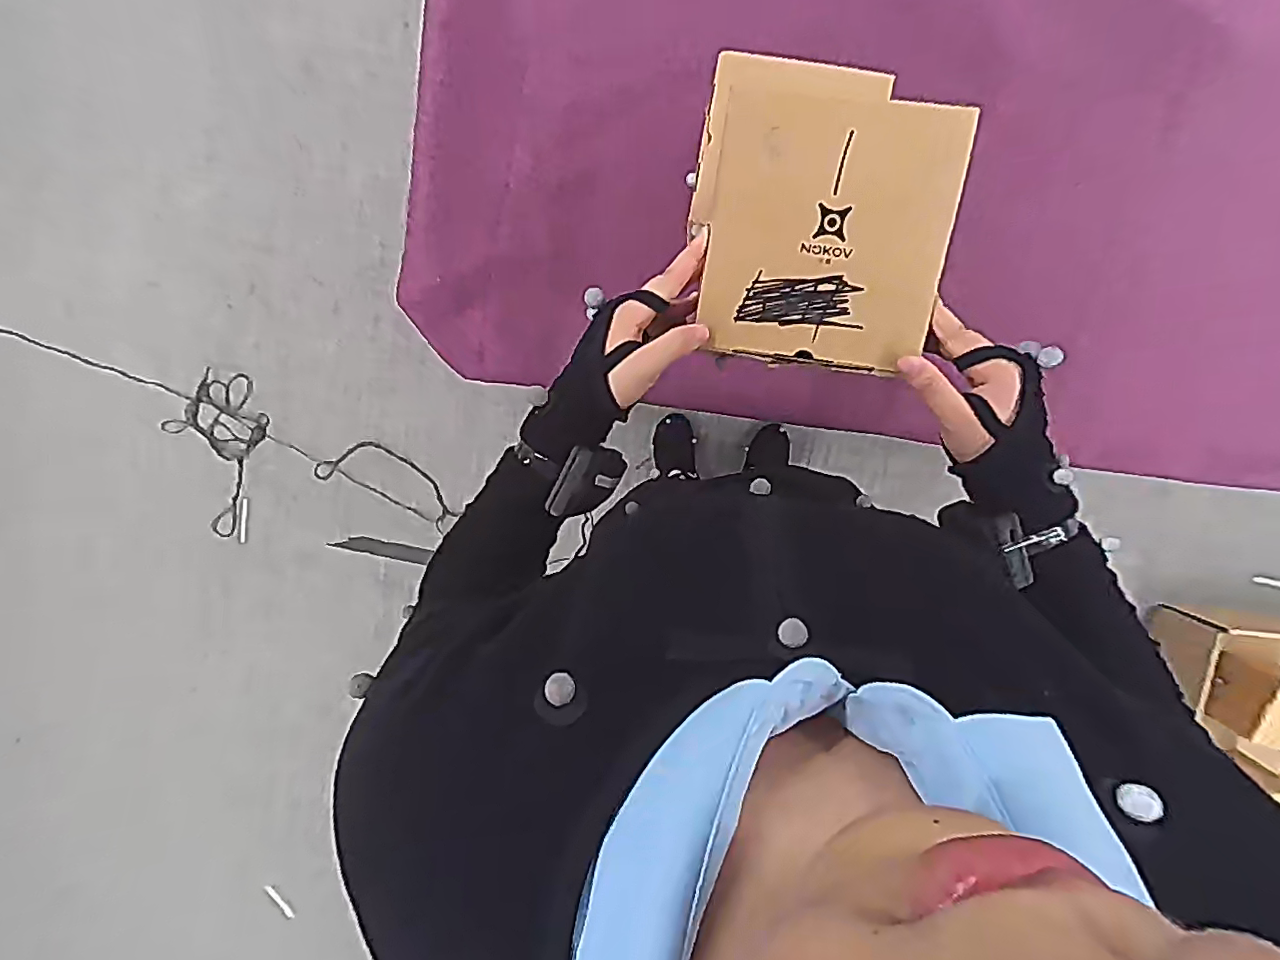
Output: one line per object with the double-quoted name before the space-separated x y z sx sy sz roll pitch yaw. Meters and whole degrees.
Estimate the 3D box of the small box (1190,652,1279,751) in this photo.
"small box" 1.536 0.546 1.322 0.179 0.176 0.168 16 101 2

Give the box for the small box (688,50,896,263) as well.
"small box" 0.156 -0.339 0.618 0.179 0.176 0.168 11 99 3

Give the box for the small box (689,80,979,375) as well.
"small box" 0.136 -0.188 0.451 0.168 0.176 0.179 9 103 3
